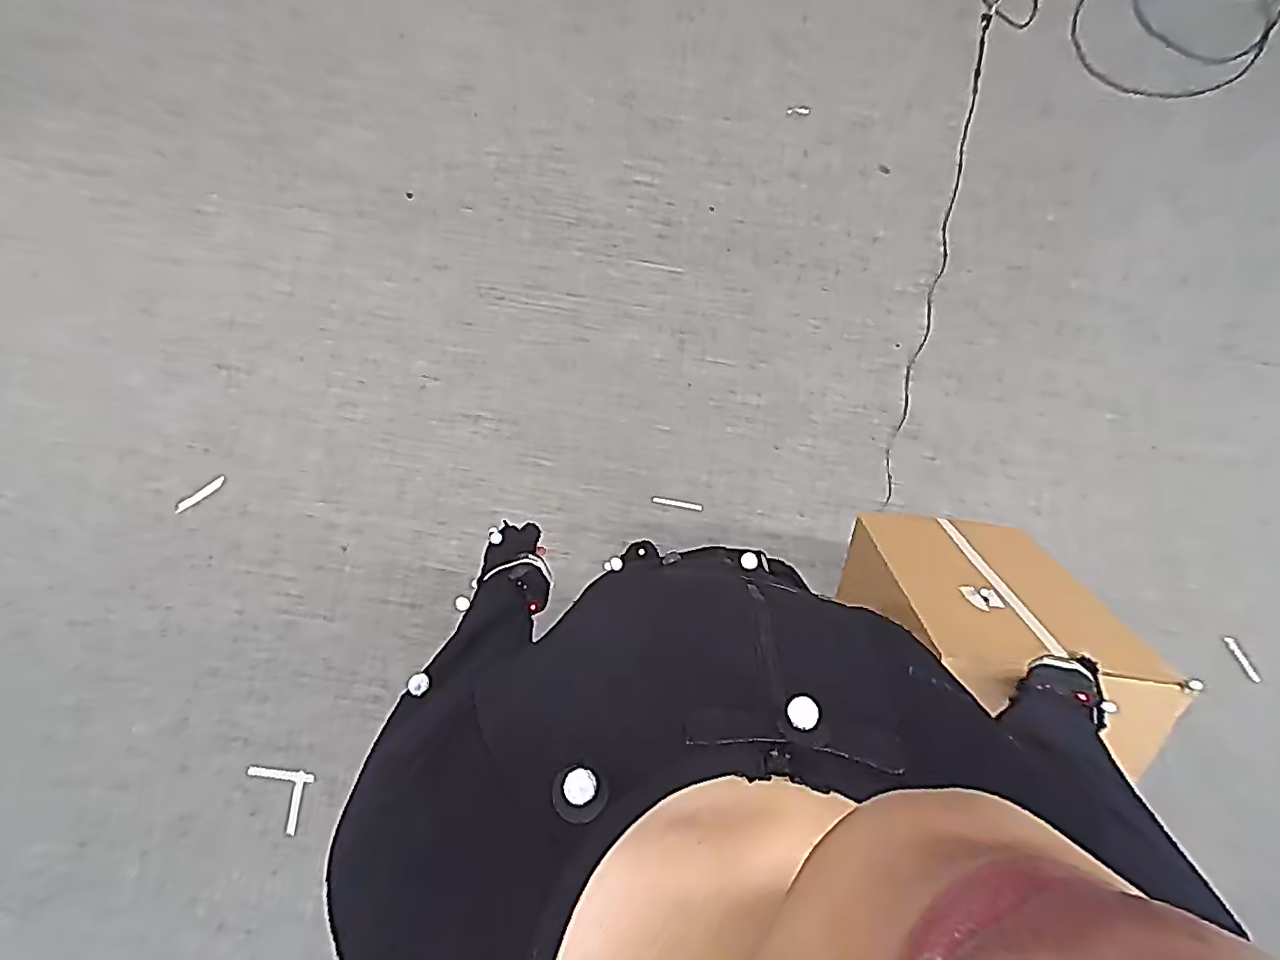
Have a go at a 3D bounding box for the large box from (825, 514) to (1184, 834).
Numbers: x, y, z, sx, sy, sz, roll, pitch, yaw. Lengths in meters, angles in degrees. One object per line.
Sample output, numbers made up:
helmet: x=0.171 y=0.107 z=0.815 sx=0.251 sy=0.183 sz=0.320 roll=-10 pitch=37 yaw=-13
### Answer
large box: x=0.548 y=0.302 z=0.937 sx=0.320 sy=0.408 sz=0.320 roll=6 pitch=115 yaw=3
